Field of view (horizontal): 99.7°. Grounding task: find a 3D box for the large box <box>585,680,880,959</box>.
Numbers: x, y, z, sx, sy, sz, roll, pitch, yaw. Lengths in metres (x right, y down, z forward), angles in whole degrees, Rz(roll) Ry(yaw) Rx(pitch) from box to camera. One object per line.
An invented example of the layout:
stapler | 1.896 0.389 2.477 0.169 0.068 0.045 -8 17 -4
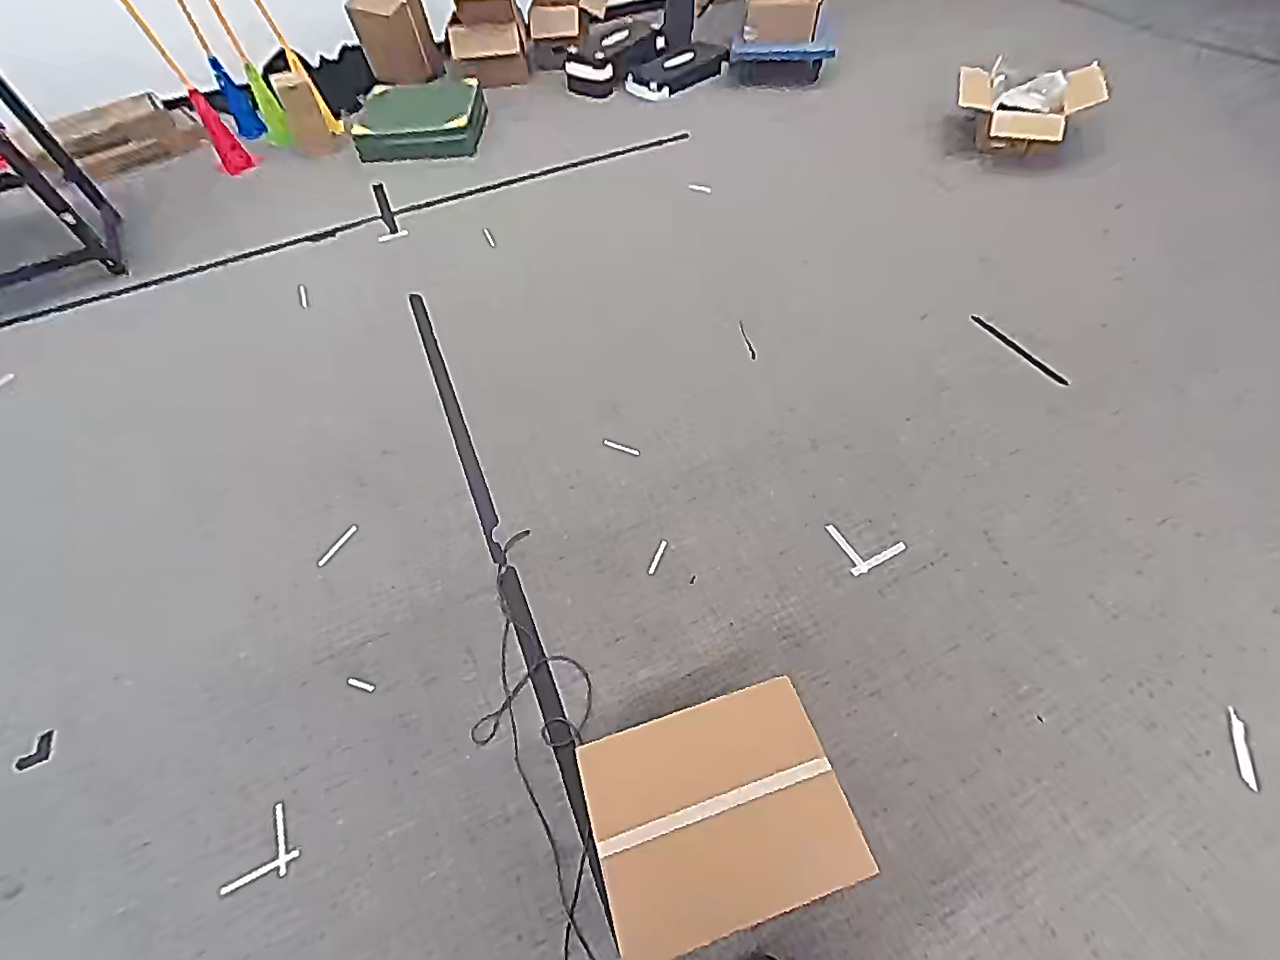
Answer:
large box | 0.143 0.626 1.001 0.408 0.320 0.320 -16 56 -8
